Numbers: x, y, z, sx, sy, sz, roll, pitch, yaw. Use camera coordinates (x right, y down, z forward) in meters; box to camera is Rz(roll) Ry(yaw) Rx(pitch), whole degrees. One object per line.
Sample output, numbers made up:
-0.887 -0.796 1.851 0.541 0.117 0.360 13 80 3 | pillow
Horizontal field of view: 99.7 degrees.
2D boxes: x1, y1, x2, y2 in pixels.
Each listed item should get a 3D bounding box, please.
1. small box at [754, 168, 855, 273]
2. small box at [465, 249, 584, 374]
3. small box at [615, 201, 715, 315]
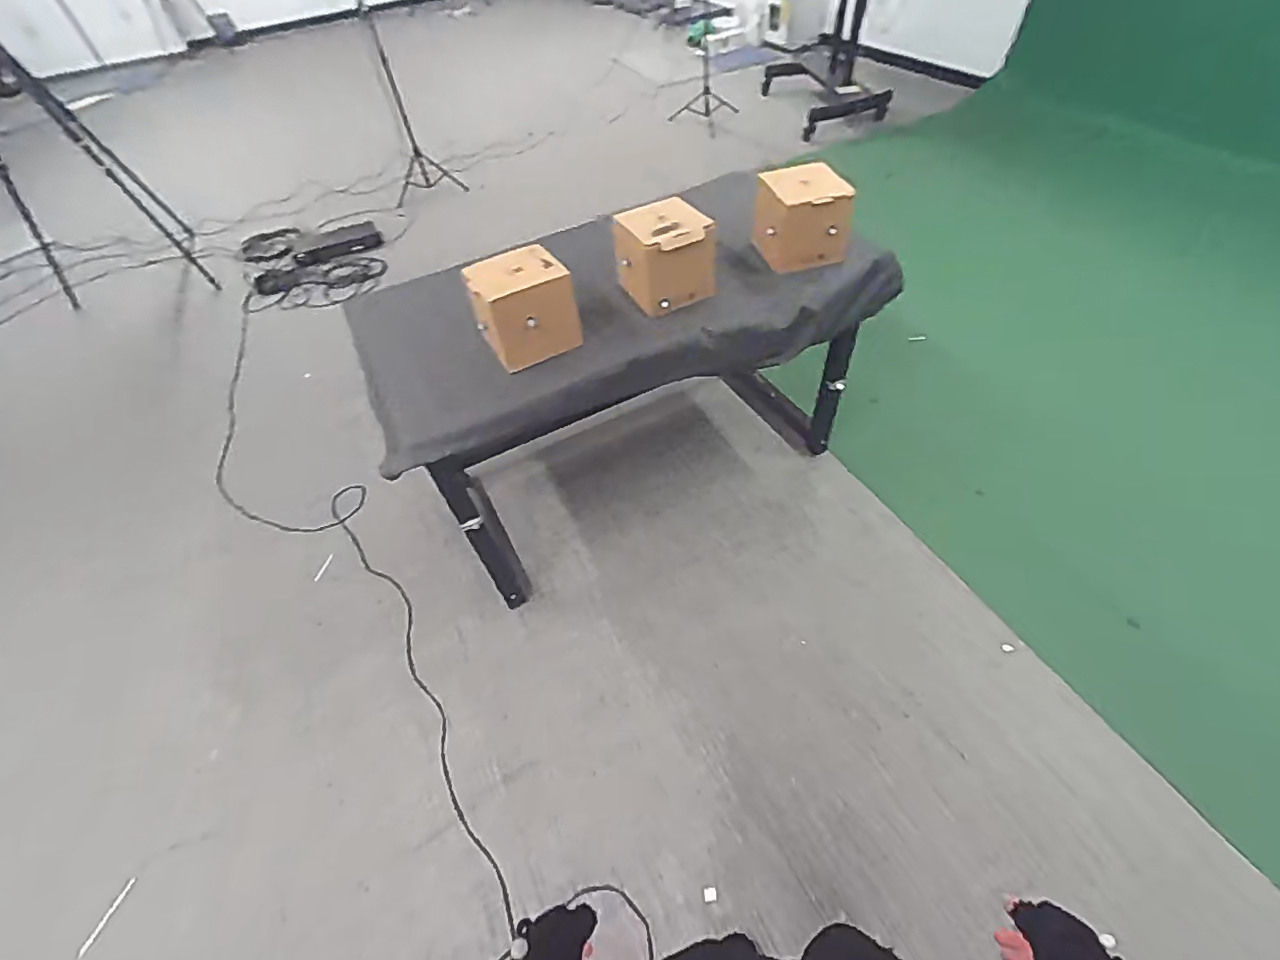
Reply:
0.382 -0.609 1.286 0.168 0.176 0.179 -13 49 -6 | small box
-0.237 -0.352 1.137 0.179 0.176 0.168 -27 51 -15 | small box
0.059 -0.496 1.226 0.168 0.176 0.179 -23 51 -13 | small box
